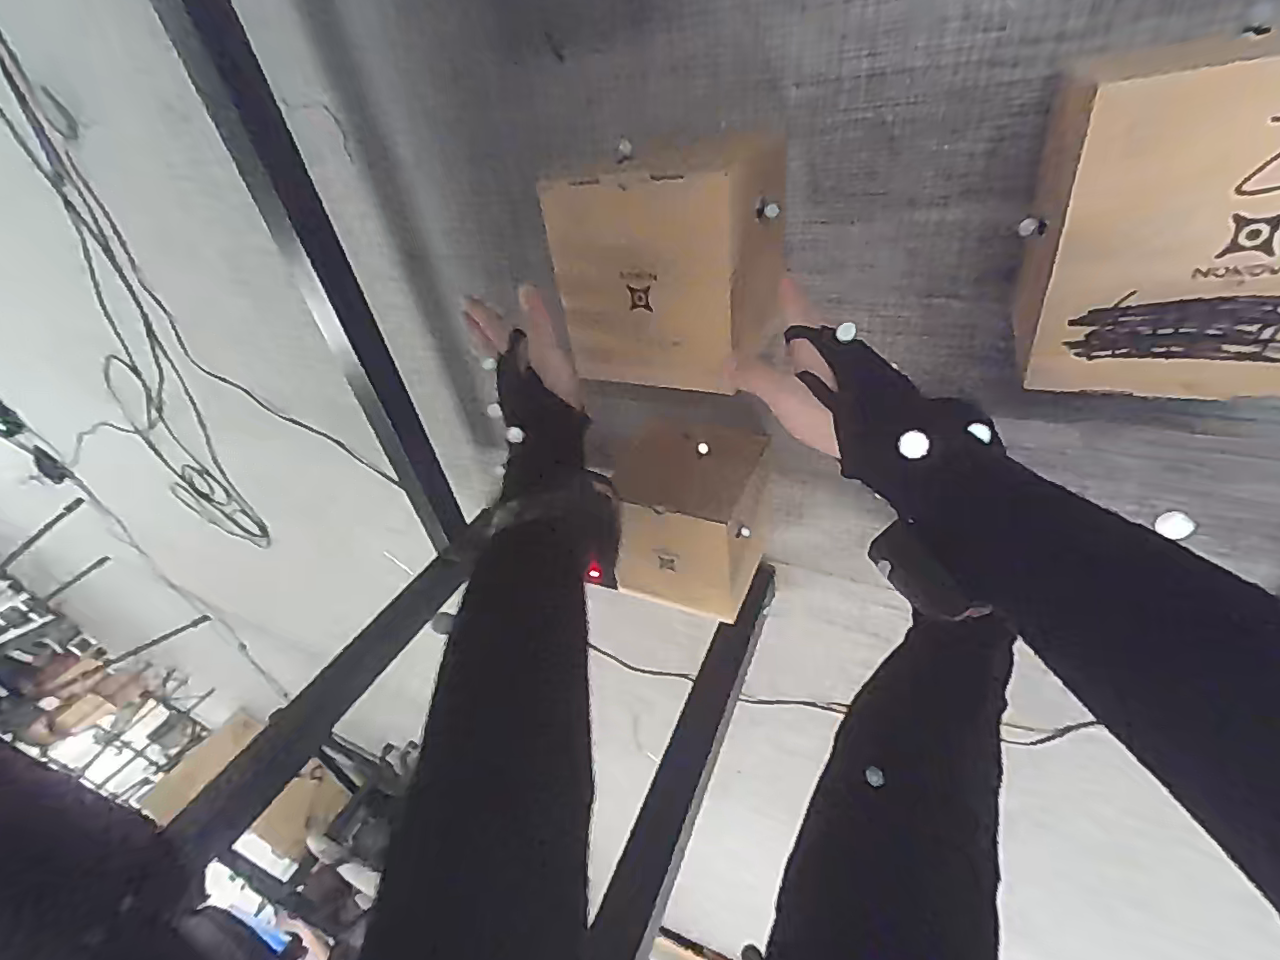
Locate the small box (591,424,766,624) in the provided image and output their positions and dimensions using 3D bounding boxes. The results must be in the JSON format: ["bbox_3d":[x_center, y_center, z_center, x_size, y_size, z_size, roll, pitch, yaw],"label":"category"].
[{"bbox_3d":[0.062,0.050,0.705,0.168,0.176,0.179,10,131,26],"label":"small box"}]

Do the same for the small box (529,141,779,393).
[{"bbox_3d":[0.027,-0.205,0.507,0.168,0.176,0.179,11,132,26],"label":"small box"}]
